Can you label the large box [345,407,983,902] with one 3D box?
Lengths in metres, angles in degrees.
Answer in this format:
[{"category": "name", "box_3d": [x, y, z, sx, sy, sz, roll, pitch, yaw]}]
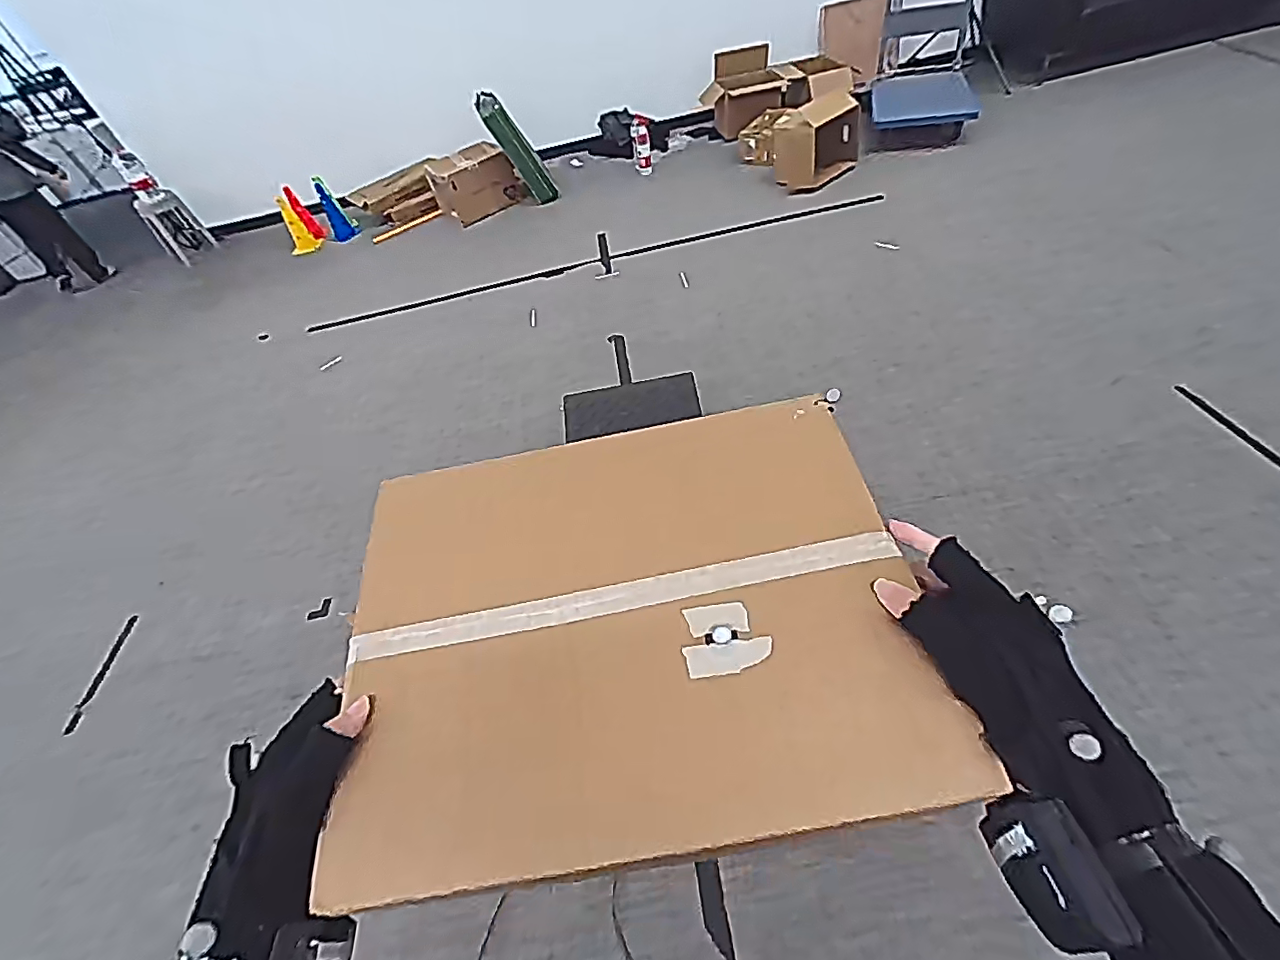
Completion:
[{"category": "large box", "box_3d": [0.009, 0.179, 0.531, 0.408, 0.320, 0.320, -11, 54, 1]}]
